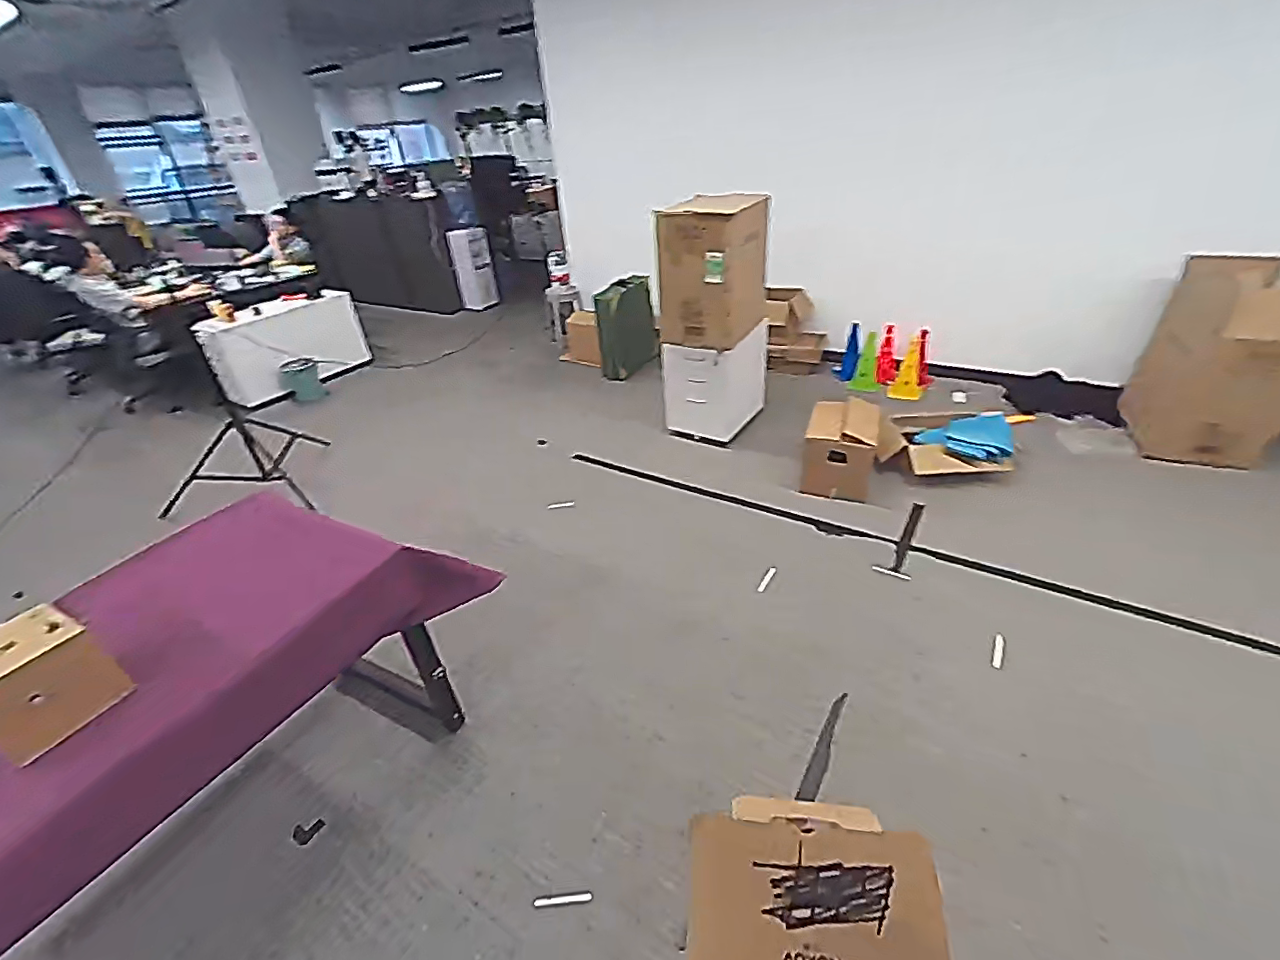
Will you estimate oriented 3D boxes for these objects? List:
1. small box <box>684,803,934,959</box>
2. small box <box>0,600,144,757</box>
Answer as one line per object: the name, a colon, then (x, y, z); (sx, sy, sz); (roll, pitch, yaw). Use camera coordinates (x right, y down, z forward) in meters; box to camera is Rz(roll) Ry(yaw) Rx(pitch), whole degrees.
small box: (0.120, 0.374, 0.415); (0.168, 0.176, 0.179); (-2, 46, 10)
small box: (-1.066, 0.355, 0.970); (0.168, 0.176, 0.179); (13, 38, 25)
